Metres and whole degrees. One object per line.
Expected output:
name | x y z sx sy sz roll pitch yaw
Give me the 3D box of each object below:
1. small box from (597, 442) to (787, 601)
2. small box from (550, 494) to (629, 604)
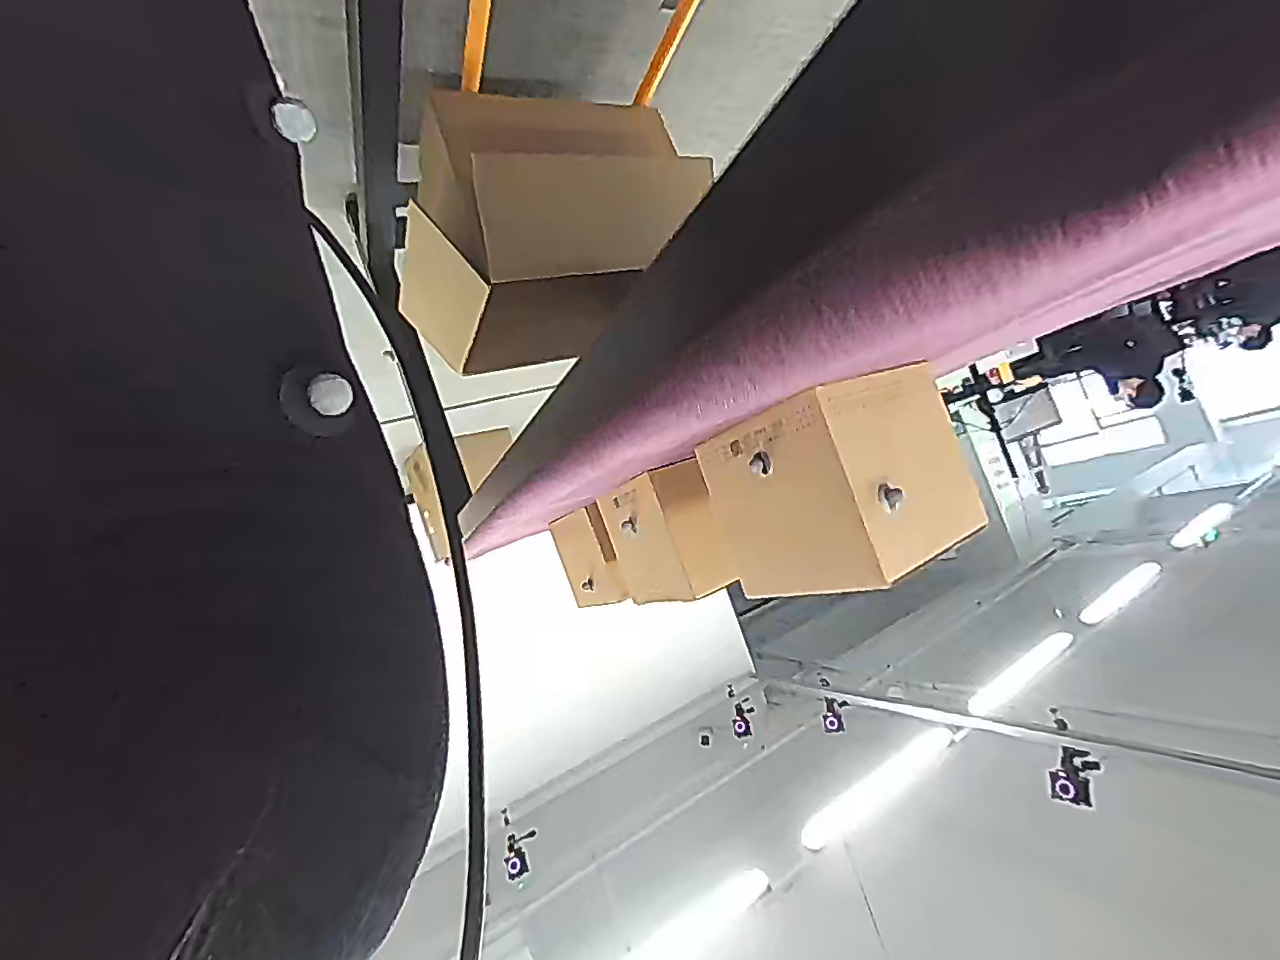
small box | 0.067 0.057 0.760 0.179 0.176 0.168 -18 175 -31
small box | -0.044 0.109 0.967 0.168 0.176 0.179 -19 176 -33
